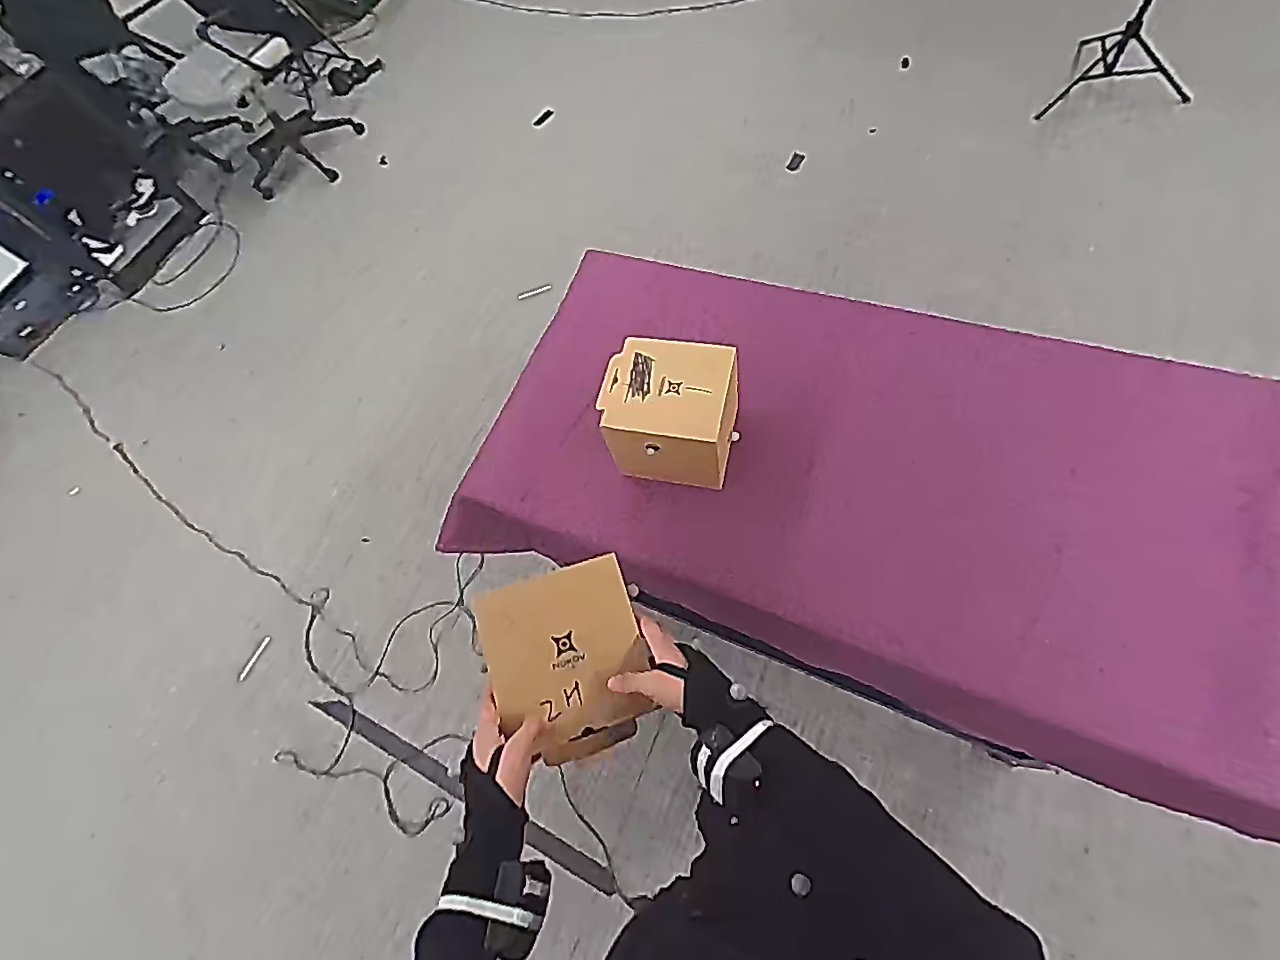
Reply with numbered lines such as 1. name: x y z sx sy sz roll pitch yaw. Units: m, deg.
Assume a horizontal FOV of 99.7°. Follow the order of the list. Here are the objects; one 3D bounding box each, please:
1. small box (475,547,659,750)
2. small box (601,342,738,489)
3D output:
1. small box: -0.089 0.195 0.655 0.168 0.176 0.179 -15 78 -10
2. small box: 0.058 -0.099 0.869 0.179 0.176 0.168 9 68 14
